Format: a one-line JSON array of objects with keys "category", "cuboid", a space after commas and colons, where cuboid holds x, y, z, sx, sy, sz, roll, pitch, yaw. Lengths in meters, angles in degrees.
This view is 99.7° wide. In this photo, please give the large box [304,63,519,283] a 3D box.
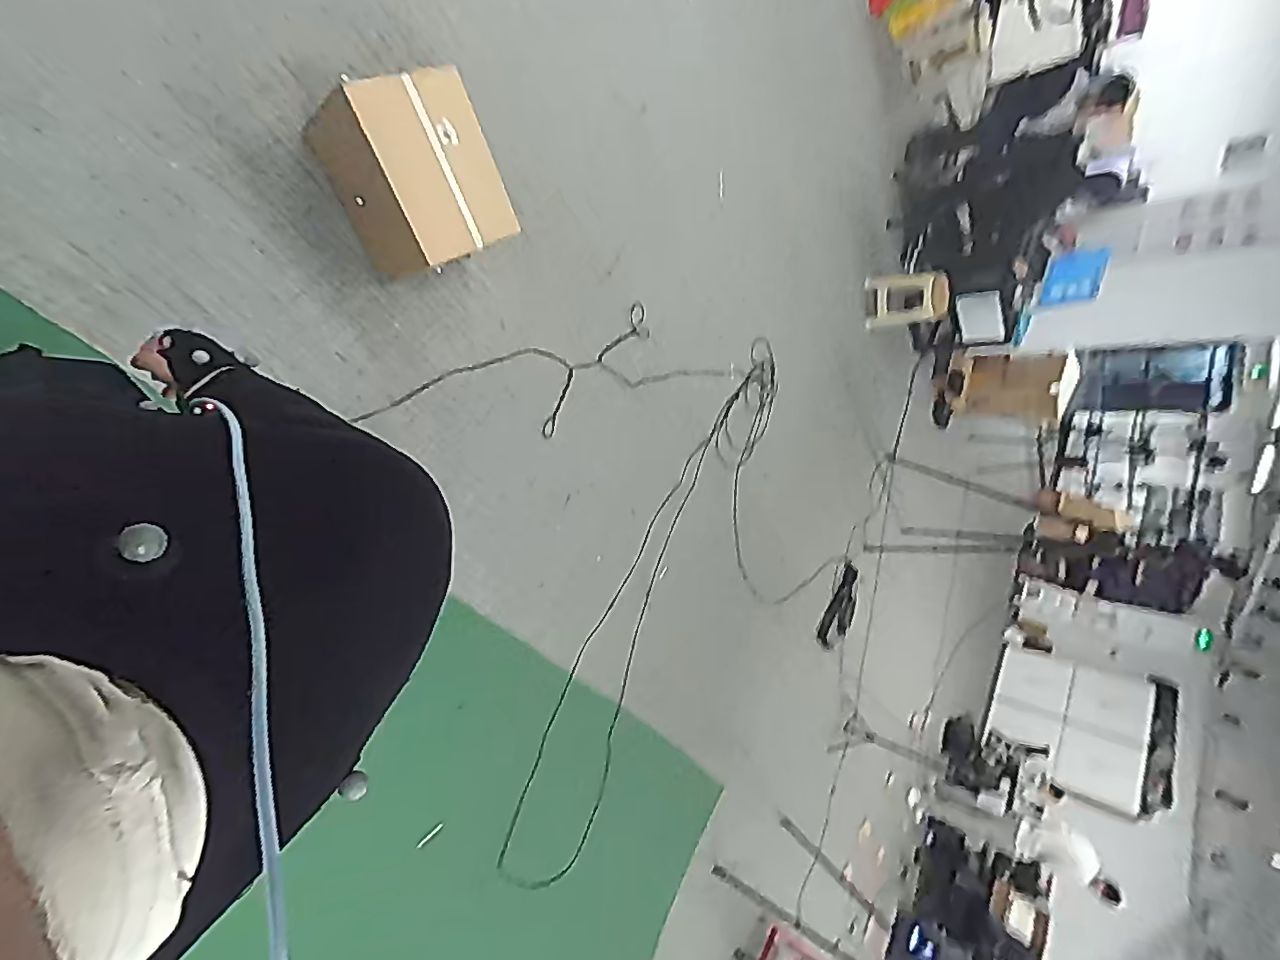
[{"category": "large box", "cuboid": [-0.605, -0.799, 1.451, 0.320, 0.320, 0.408, -42, 122, -34]}]
